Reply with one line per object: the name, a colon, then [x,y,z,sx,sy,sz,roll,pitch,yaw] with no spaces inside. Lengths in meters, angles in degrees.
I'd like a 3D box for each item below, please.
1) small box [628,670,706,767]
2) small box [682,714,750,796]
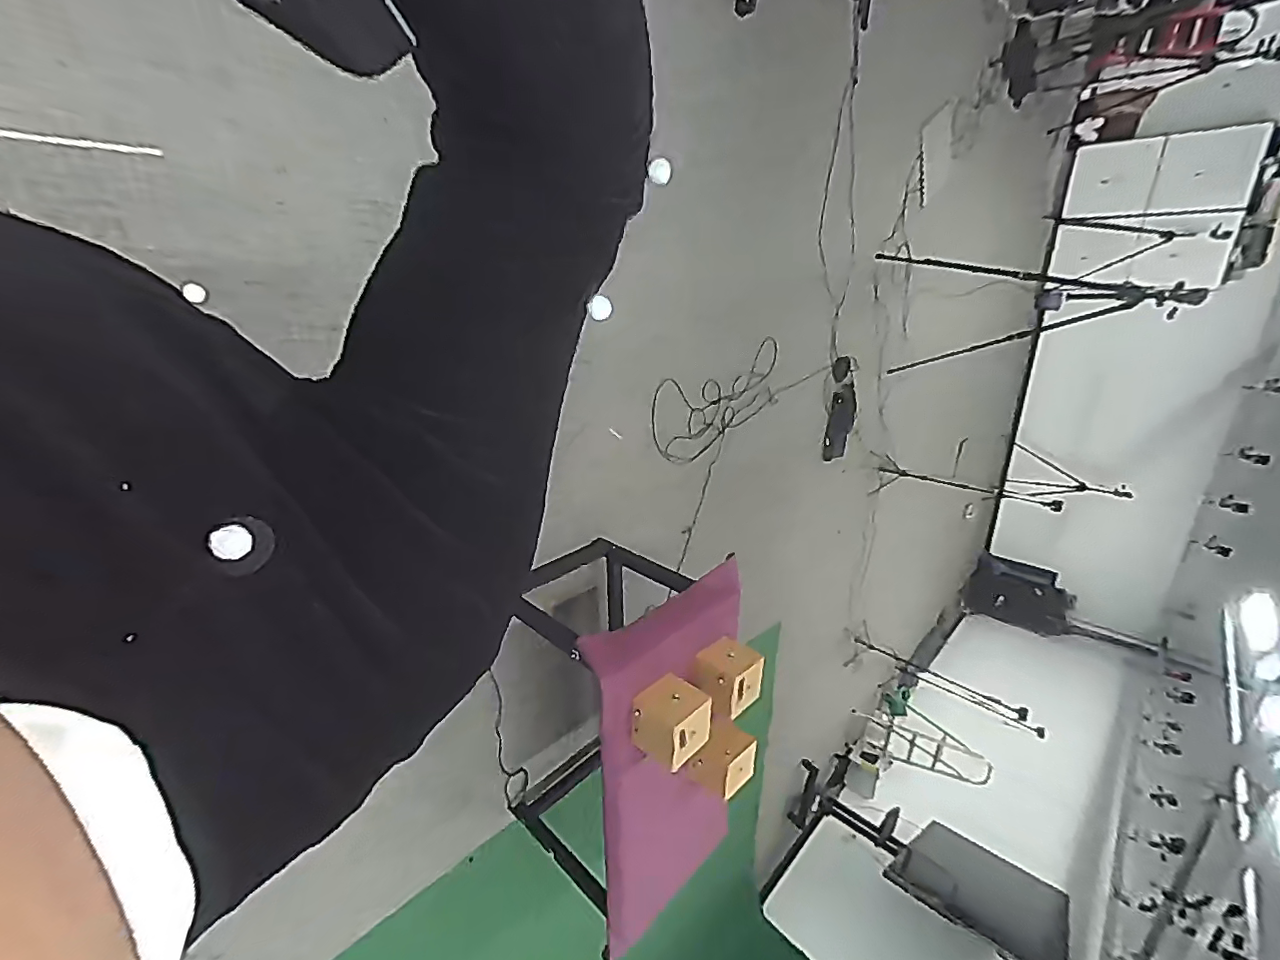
small box: [0.078,0.717,1.644,0.179,0.176,0.168,-19,117,-45]
small box: [0.277,0.993,1.972,0.179,0.176,0.168,-15,115,-44]
